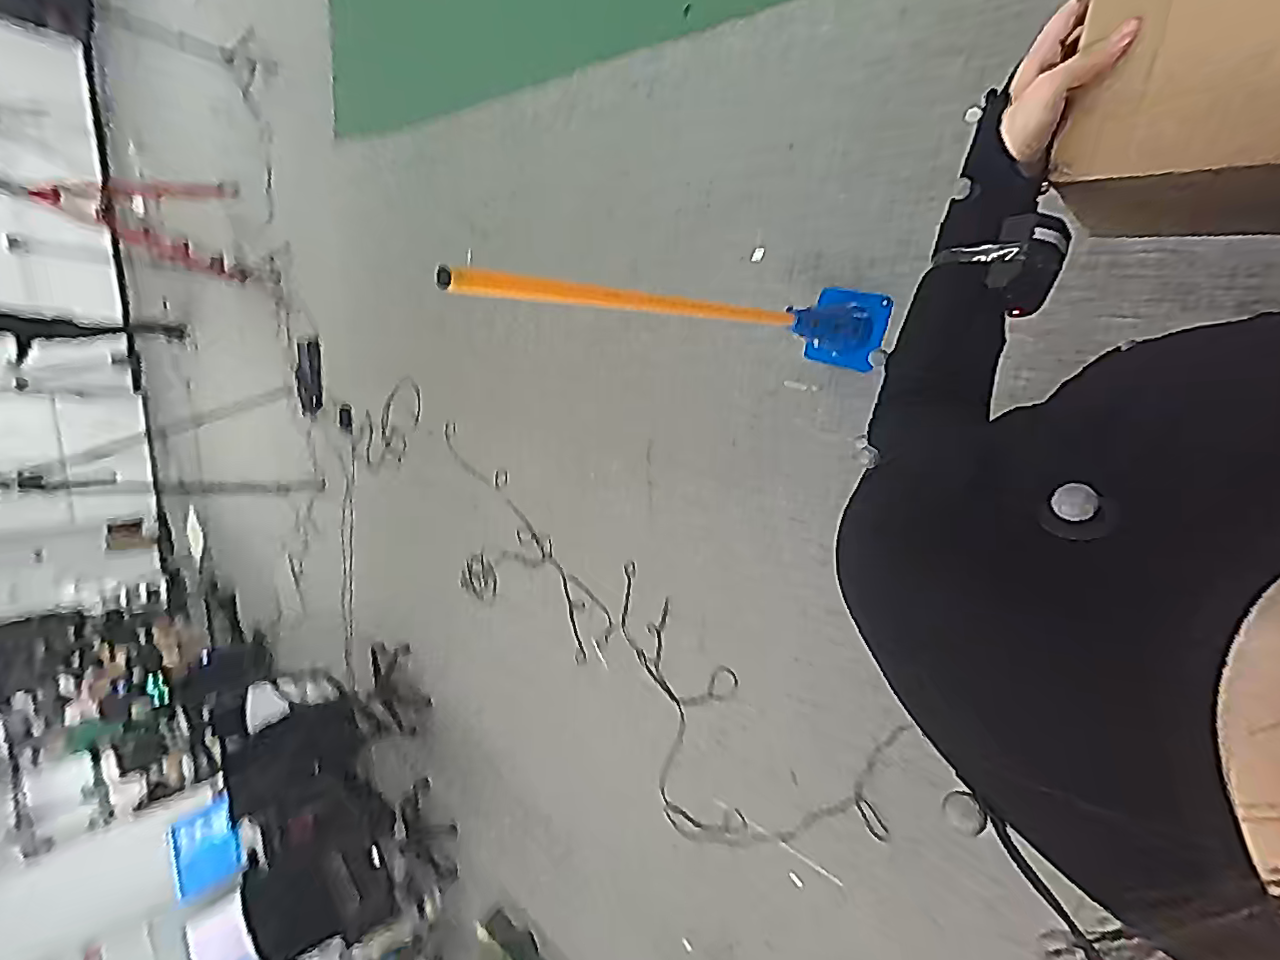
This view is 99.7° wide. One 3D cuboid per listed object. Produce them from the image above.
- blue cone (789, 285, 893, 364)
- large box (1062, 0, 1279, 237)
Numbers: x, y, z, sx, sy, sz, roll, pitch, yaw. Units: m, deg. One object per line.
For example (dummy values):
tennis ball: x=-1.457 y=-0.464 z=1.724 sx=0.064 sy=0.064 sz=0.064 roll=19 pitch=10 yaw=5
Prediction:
blue cone: x=0.462 y=-0.400 z=1.334 sx=0.193 sy=0.380 sz=0.192 roll=27 pitch=113 yaw=34
large box: x=0.584 y=-0.368 z=0.369 sx=0.408 sy=0.320 sz=0.320 roll=17 pitch=112 yaw=40
